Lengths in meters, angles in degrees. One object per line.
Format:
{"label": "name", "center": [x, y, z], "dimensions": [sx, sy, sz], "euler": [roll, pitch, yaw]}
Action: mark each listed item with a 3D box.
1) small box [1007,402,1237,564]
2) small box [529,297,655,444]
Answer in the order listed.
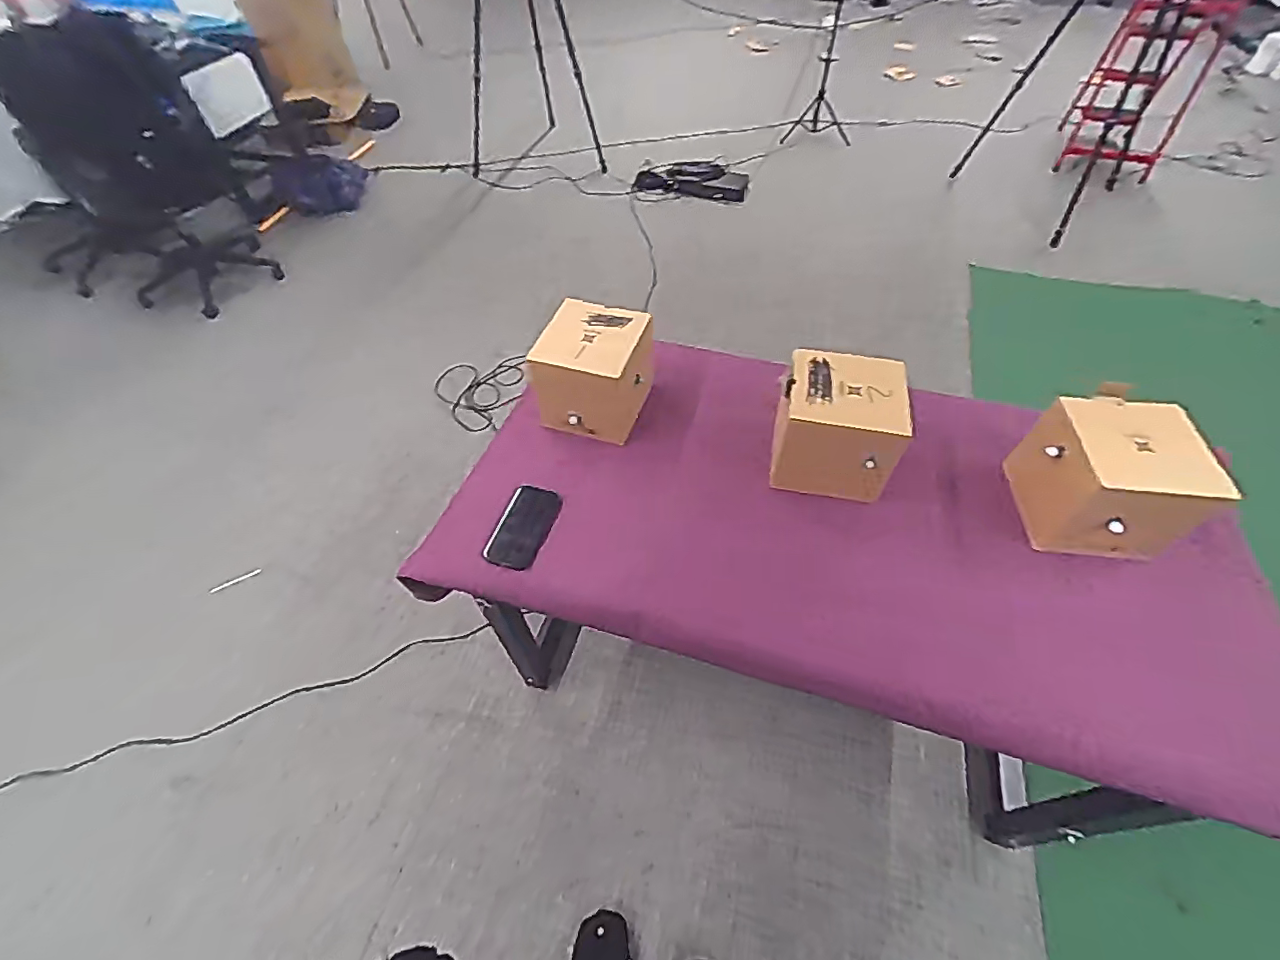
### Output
{"label": "small box", "center": [0.692, 0.008, 0.806], "dimensions": [0.168, 0.176, 0.179], "euler": [6, 52, 6]}
{"label": "small box", "center": [-0.078, -0.196, 0.976], "dimensions": [0.168, 0.176, 0.179], "euler": [15, 56, 12]}
